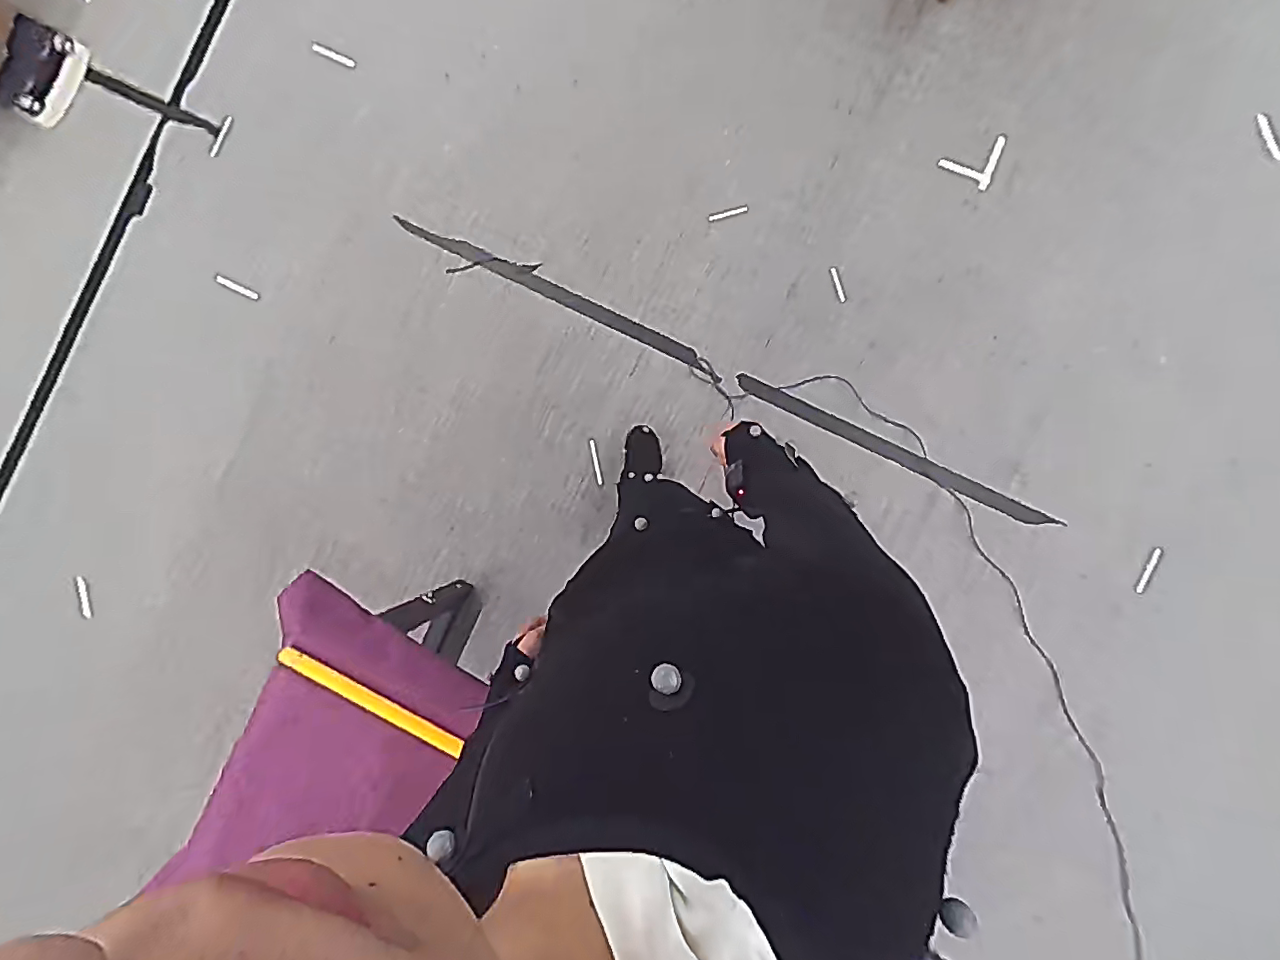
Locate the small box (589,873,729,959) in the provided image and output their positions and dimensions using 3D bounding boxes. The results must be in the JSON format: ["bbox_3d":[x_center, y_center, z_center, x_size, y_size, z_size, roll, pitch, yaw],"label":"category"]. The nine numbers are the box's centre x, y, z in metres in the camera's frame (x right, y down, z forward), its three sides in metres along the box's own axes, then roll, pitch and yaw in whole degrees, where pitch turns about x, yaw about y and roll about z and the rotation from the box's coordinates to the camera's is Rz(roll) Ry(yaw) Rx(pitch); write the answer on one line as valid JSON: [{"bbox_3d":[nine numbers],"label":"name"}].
[{"bbox_3d":[0.021,0.733,0.797,0.179,0.176,0.168,25,90,4],"label":"small box"}]

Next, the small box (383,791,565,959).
[{"bbox_3d":[-0.236,0.611,0.813,0.179,0.176,0.168,28,91,3],"label":"small box"}]
